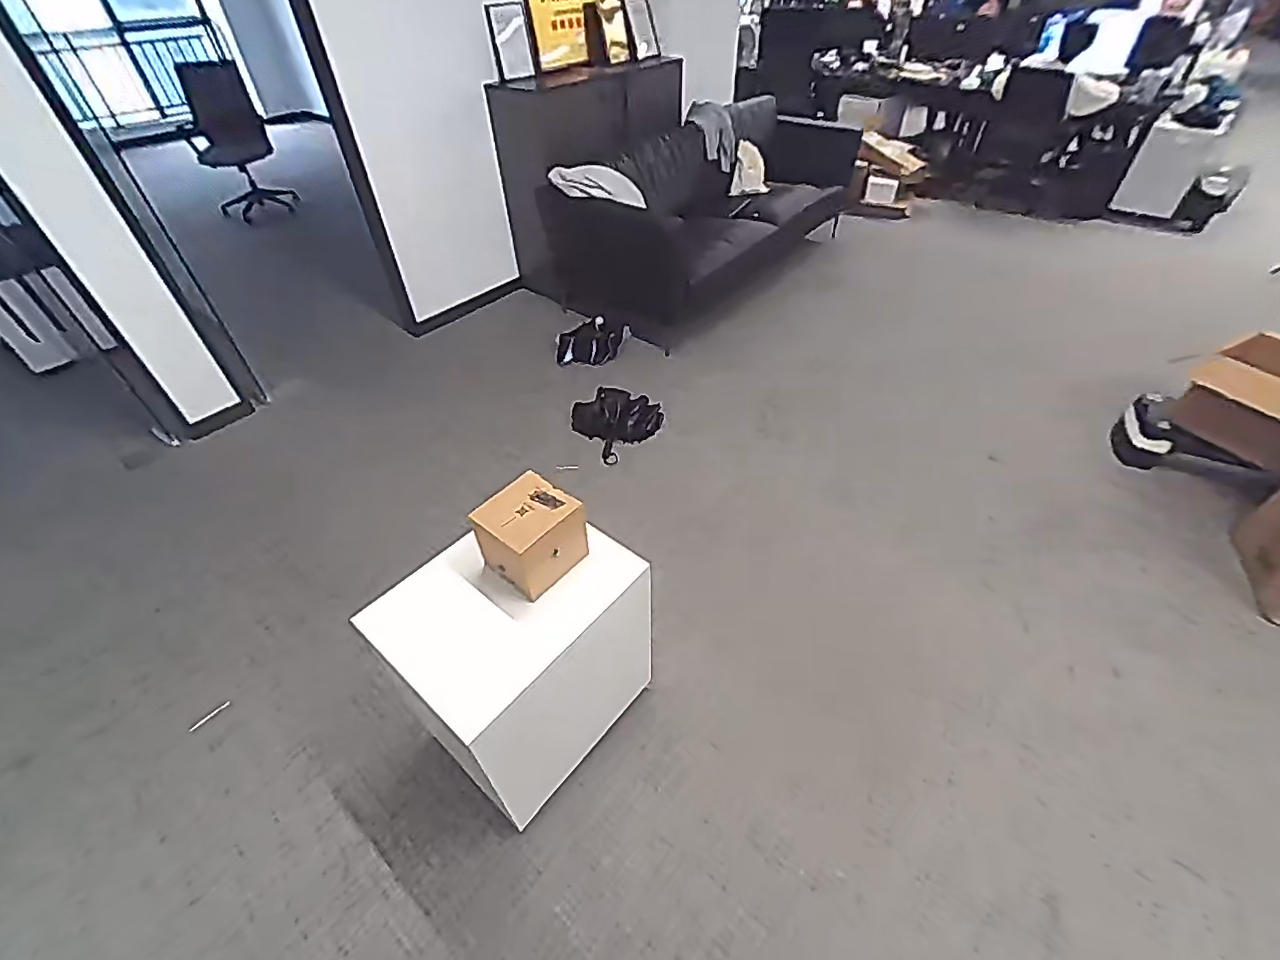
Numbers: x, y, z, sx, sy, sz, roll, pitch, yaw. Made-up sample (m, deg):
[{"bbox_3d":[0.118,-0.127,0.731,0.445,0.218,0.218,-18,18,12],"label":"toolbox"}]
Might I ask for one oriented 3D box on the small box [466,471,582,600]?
[{"bbox_3d":[-0.240,0.118,1.155,0.168,0.176,0.179,30,51,28],"label":"small box"}]
